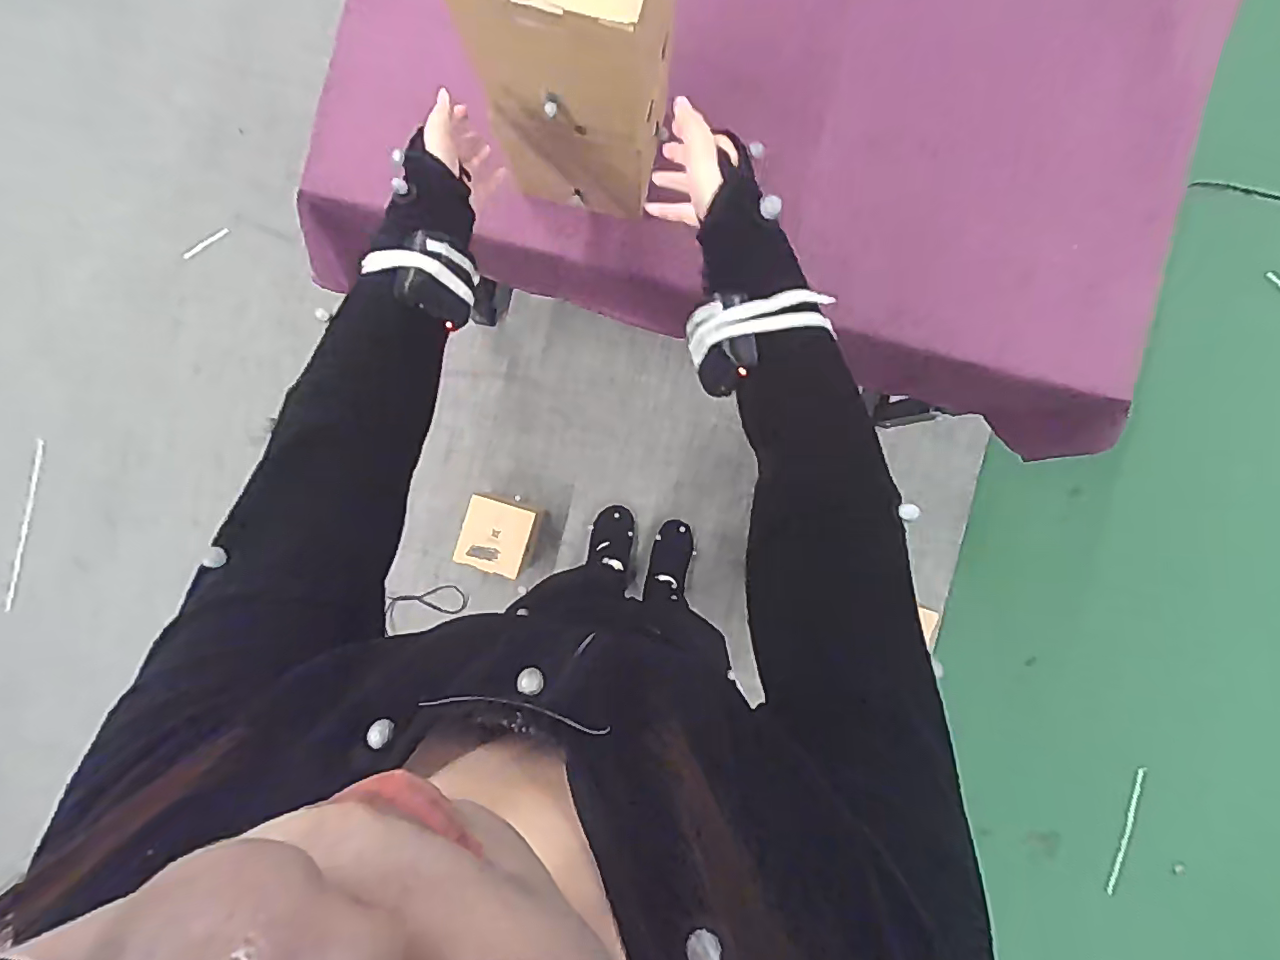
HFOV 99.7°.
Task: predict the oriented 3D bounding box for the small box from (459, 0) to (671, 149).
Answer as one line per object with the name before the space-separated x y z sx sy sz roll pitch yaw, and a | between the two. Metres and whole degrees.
small box | -0.061 -0.461 0.507 0.168 0.176 0.179 14 91 -1

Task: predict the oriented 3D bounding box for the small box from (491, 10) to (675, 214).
small box | -0.065 -0.460 0.674 0.179 0.176 0.168 13 91 -2

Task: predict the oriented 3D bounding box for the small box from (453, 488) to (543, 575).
small box | -0.362 0.128 1.415 0.168 0.176 0.179 17 90 -2
